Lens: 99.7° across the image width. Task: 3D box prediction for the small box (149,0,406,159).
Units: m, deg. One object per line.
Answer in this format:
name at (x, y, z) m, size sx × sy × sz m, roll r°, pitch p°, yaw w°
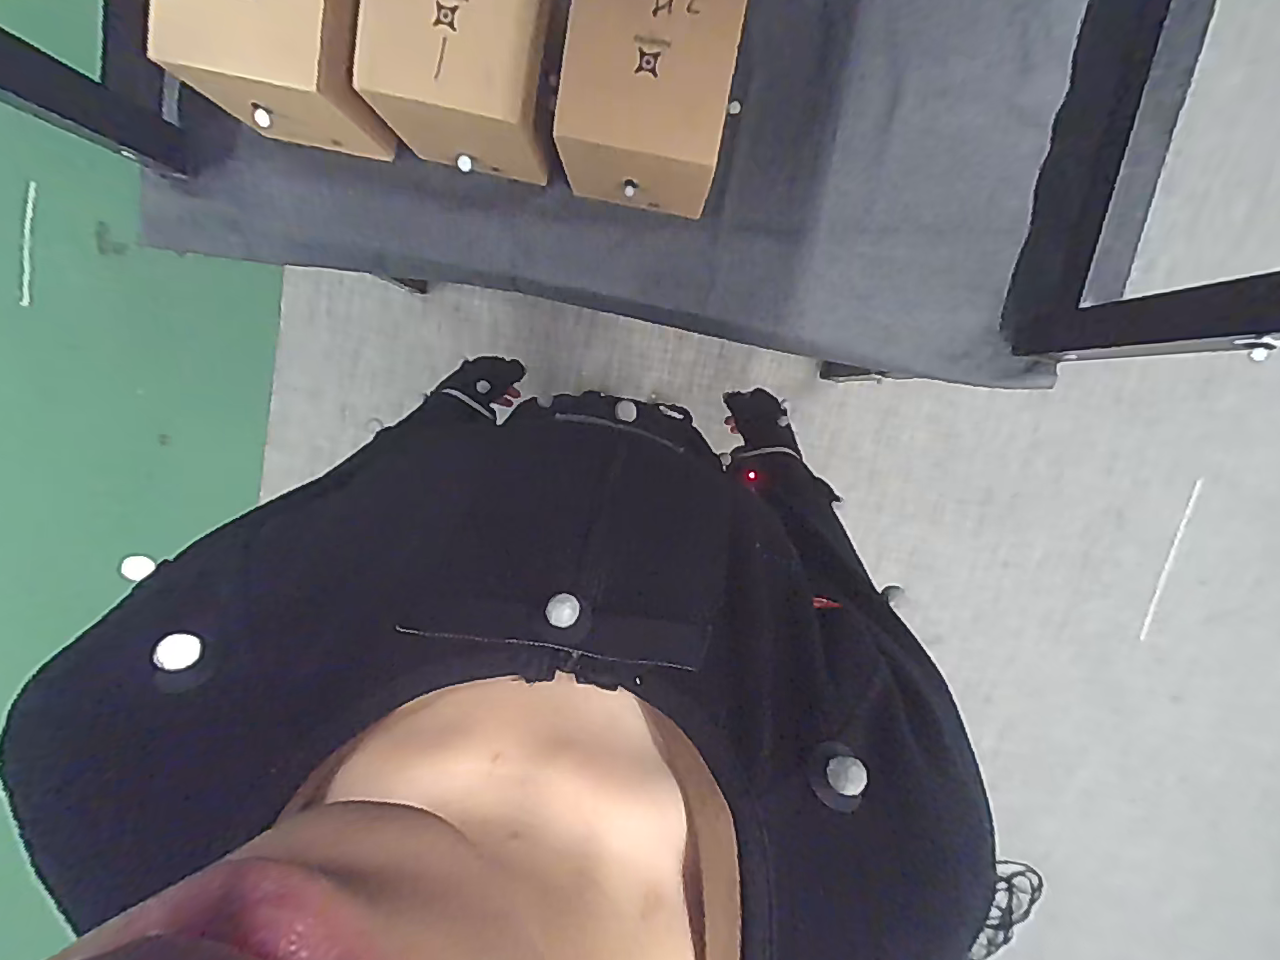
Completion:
small box at (-0.375, -0.483, 0.587) m, size 0.168 × 0.176 × 0.179 m, roll 10°, pitch 98°, yaw -2°
